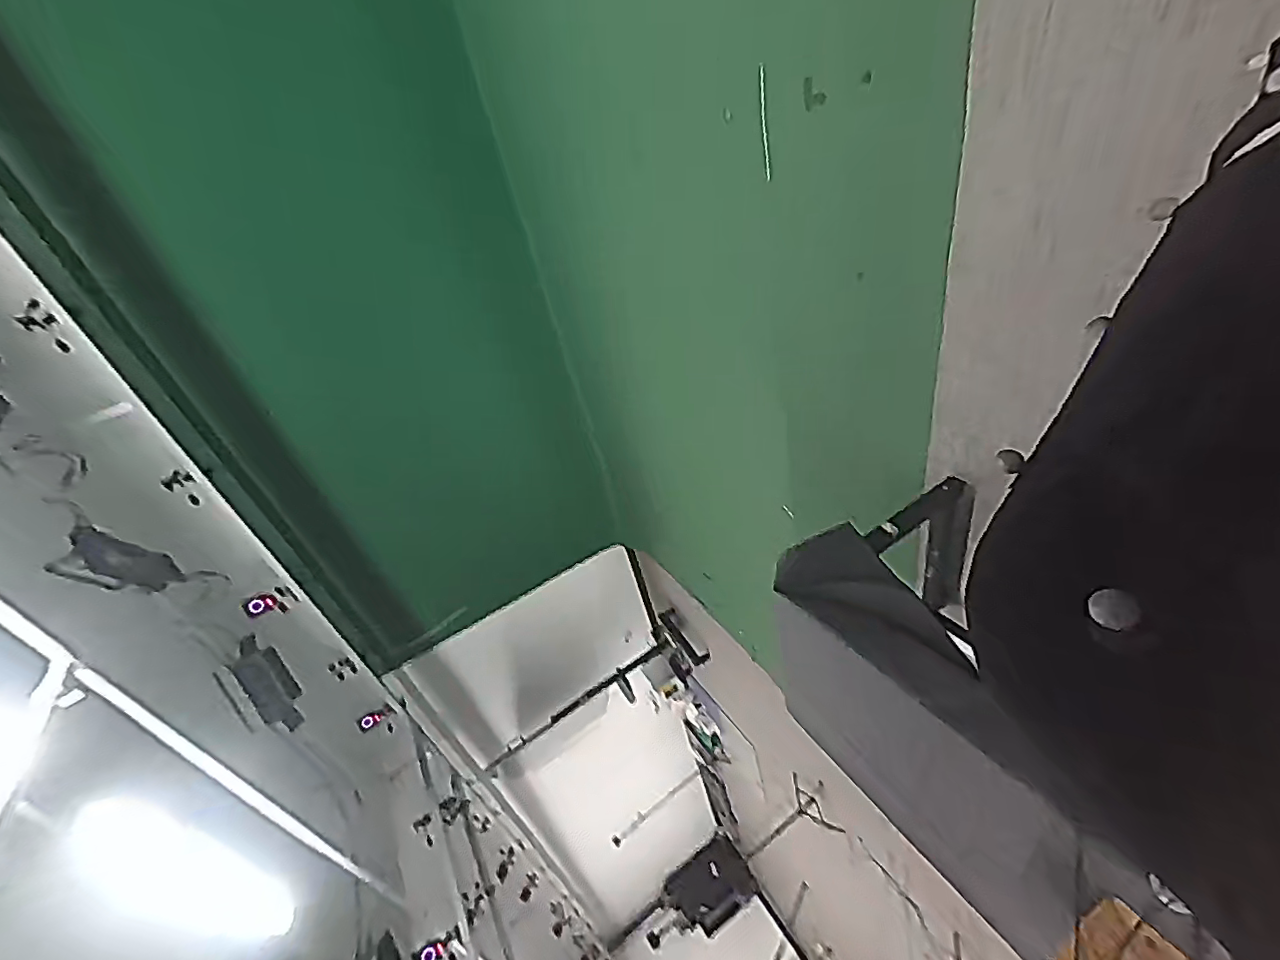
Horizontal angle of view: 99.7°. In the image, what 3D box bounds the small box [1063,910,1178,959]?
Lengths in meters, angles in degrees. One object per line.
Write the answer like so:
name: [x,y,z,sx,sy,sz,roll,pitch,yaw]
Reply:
small box: [0.781,0.837,0.859,0.168,0.176,0.179,40,153,48]
